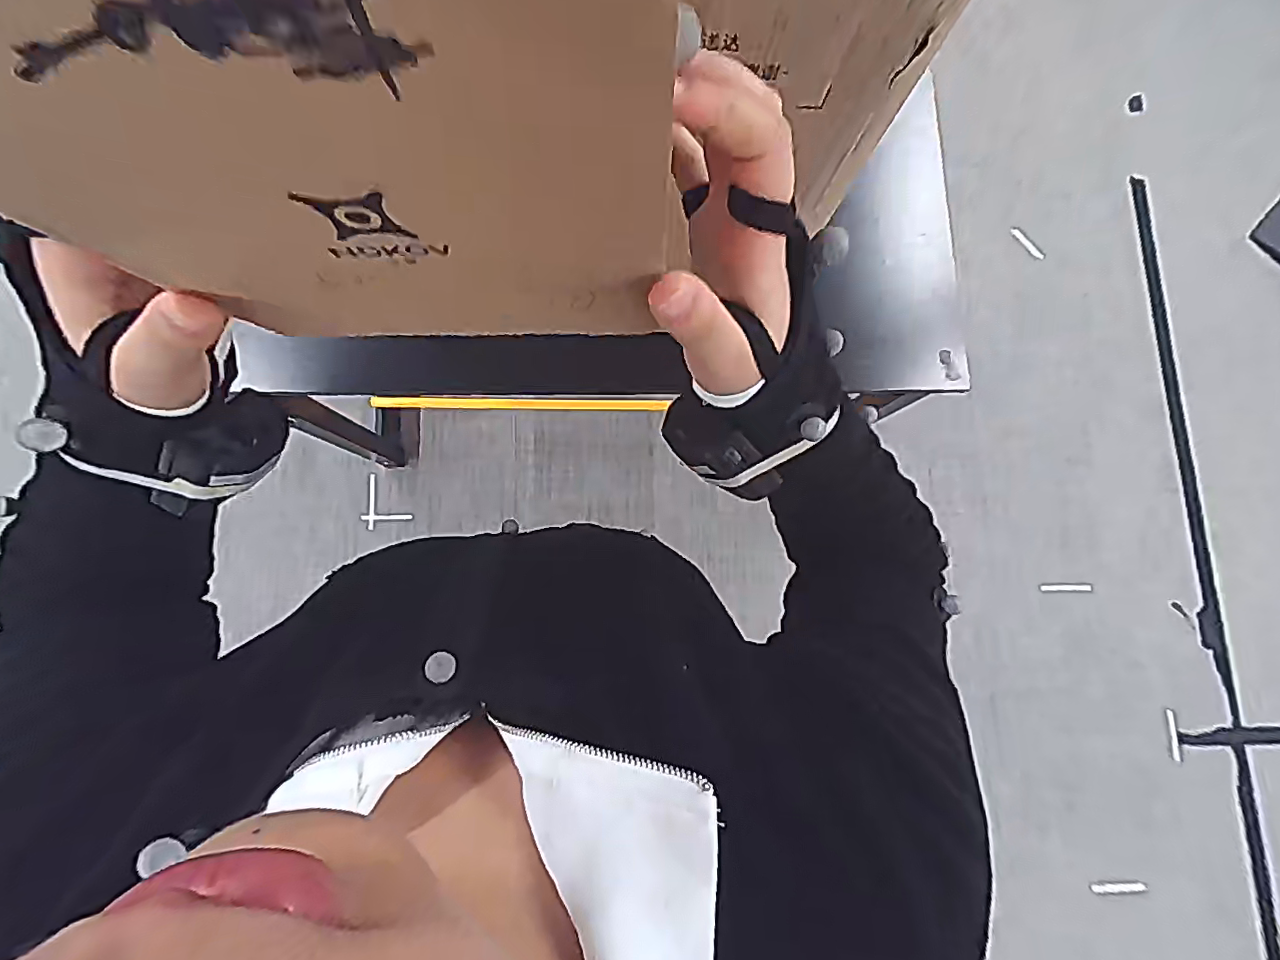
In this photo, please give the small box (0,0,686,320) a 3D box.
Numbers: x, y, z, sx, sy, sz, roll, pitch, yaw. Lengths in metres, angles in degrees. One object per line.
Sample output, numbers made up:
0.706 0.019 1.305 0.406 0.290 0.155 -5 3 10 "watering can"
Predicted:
-0.075 -0.158 0.161 0.168 0.179 0.176 -2 87 0 "small box"
